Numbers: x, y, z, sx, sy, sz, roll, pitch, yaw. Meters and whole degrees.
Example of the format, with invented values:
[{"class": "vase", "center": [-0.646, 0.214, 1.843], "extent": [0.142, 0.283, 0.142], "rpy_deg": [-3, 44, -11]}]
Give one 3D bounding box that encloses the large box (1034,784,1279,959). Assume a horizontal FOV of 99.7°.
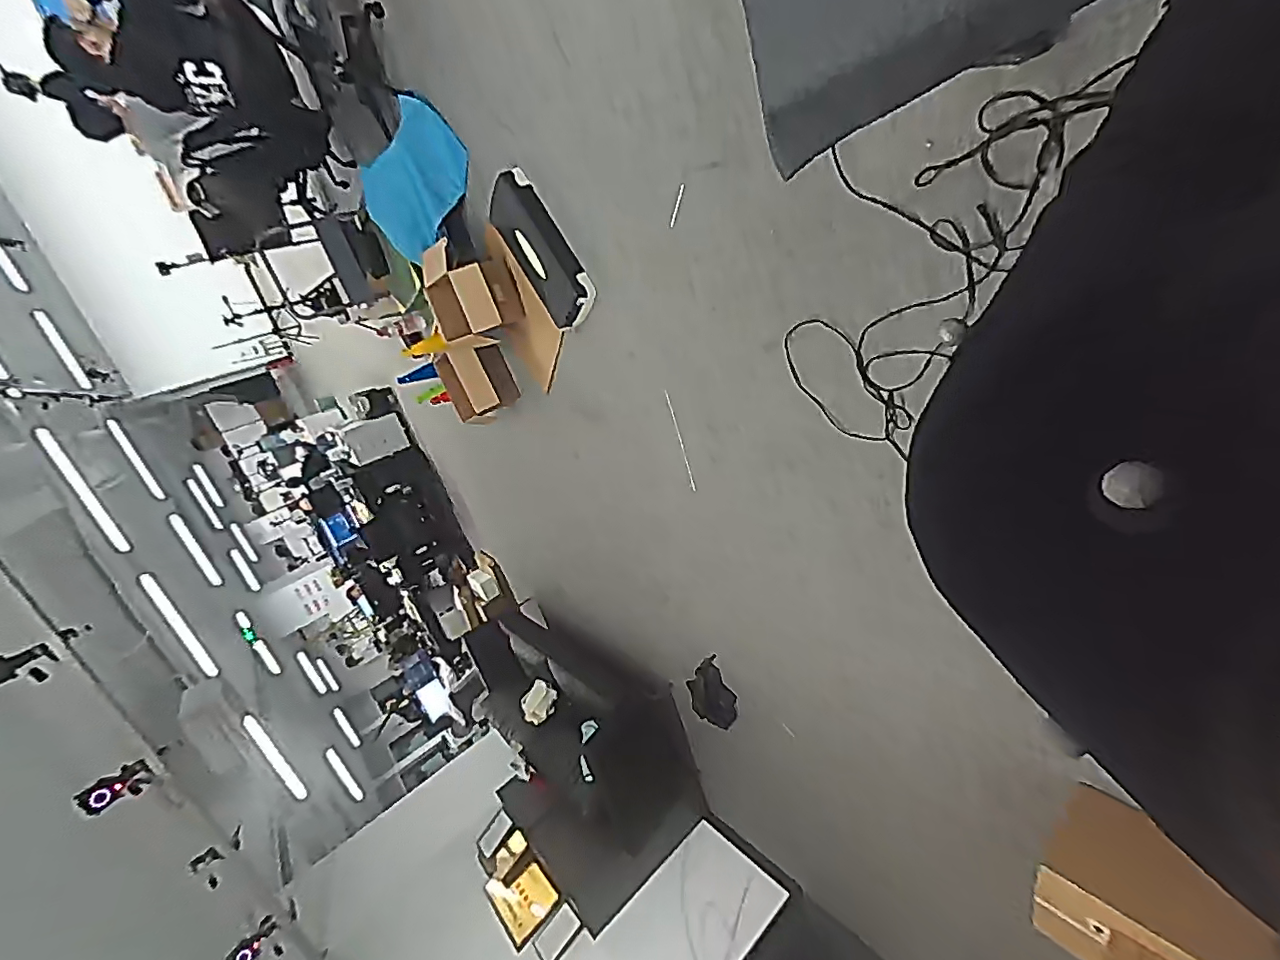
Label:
[{"class": "large box", "center": [1.330, 1.112, 1.410], "extent": [0.408, 0.320, 0.320], "rpy_deg": [18, 129, 50]}]
